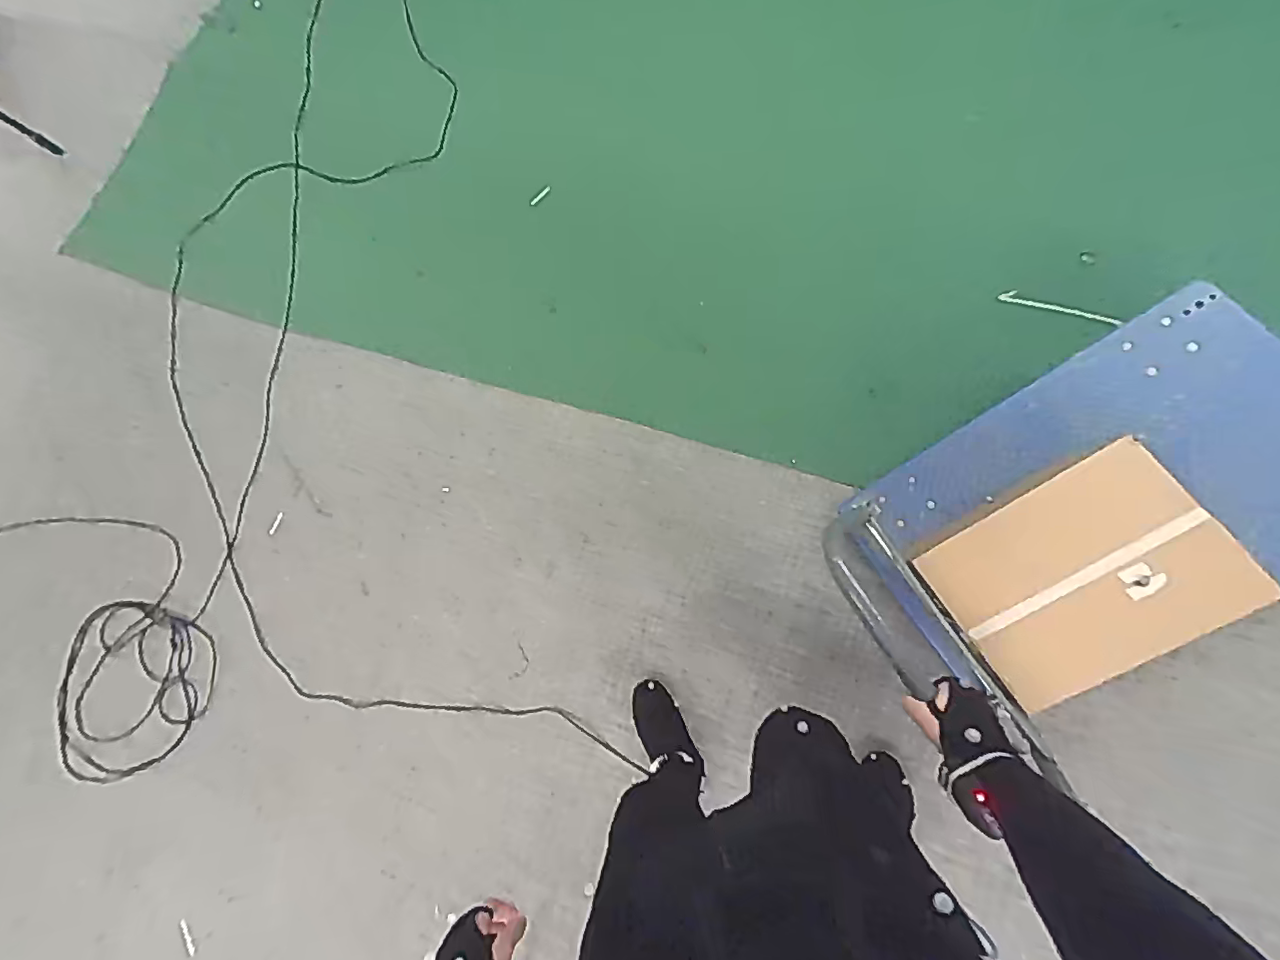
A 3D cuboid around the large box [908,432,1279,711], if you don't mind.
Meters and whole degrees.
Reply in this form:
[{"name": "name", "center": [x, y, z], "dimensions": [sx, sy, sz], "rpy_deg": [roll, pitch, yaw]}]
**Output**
[{"name": "large box", "center": [0.799, 0.171, 1.041], "dimensions": [0.408, 0.320, 0.320], "rpy_deg": [-36, 73, 15]}]
